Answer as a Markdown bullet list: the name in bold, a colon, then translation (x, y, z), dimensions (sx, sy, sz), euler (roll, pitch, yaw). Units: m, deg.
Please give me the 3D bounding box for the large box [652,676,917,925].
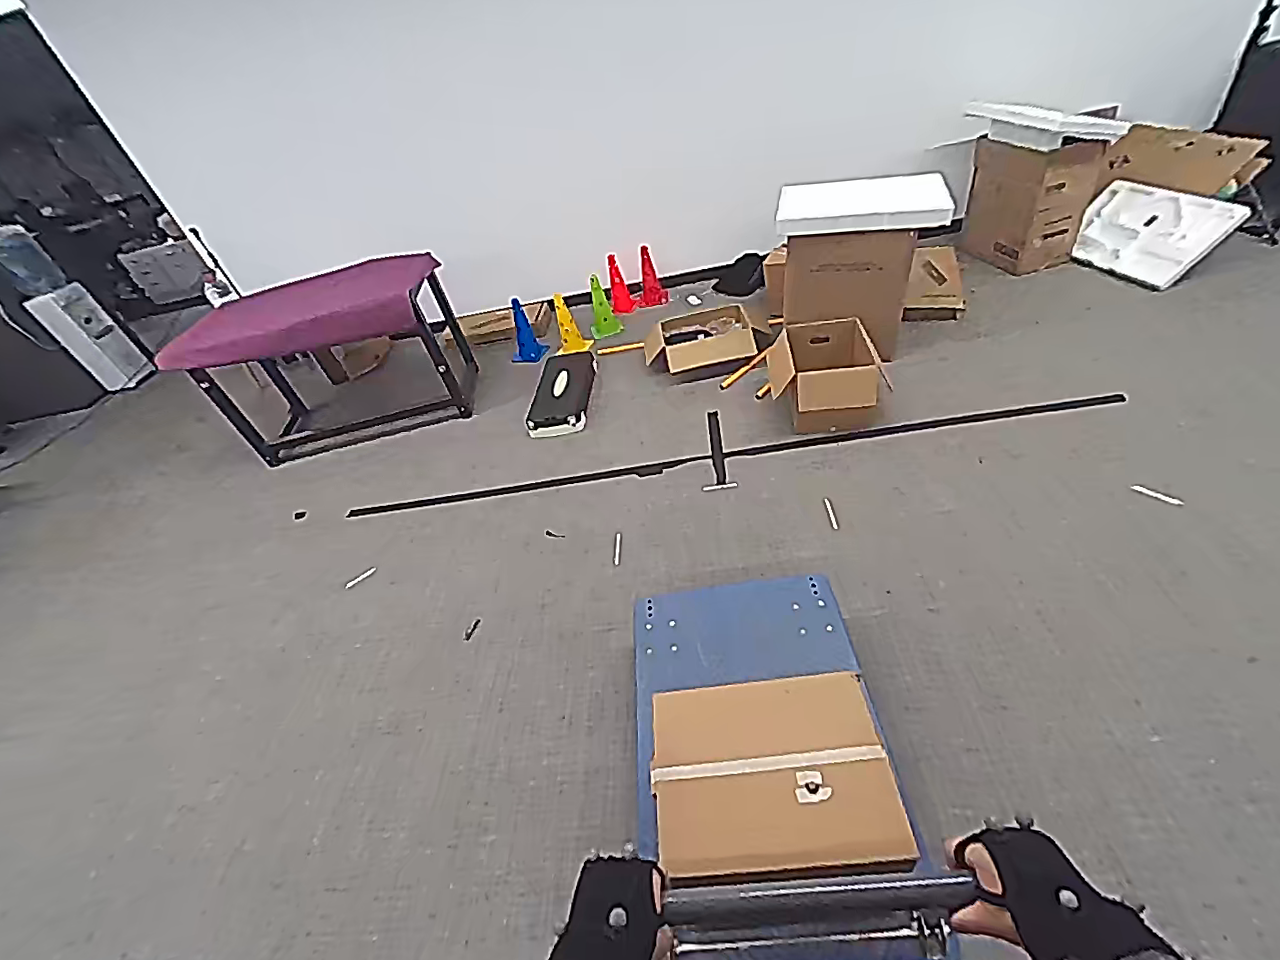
- **large box**: translation (0.248, 0.620, 1.045), dimensions (0.408, 0.320, 0.320), euler (-9, 41, 5)
